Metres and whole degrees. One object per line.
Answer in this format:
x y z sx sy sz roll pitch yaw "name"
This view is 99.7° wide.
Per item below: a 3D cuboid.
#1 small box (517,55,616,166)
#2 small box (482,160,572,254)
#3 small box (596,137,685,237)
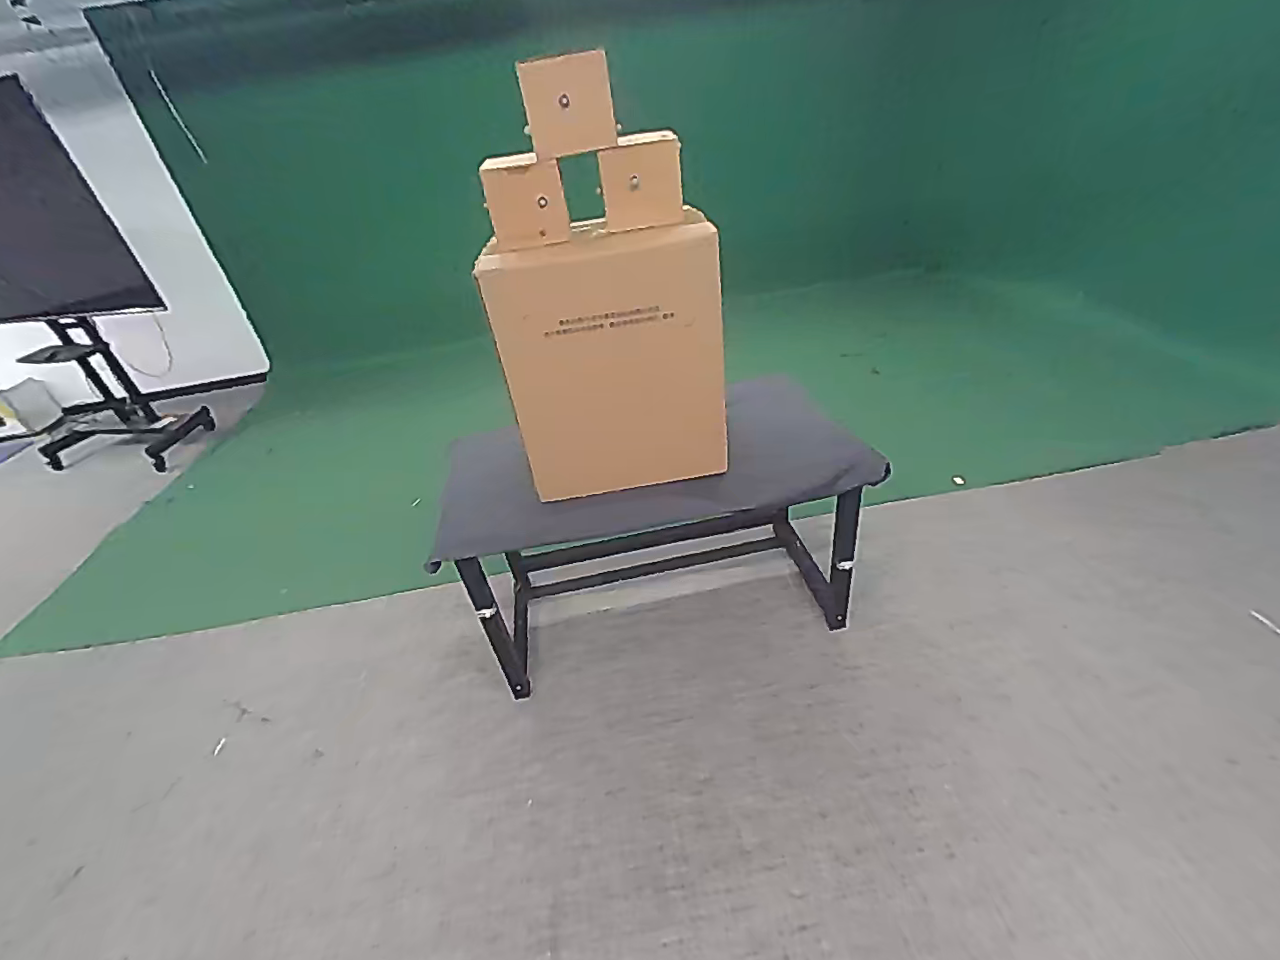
-0.149 -0.784 1.151 0.179 0.176 0.168 -12 37 0 "small box"
-0.253 -0.631 1.249 0.168 0.176 0.179 -9 36 -2 "small box"
0.000 -0.677 1.252 0.179 0.176 0.168 -10 38 1 "small box"
